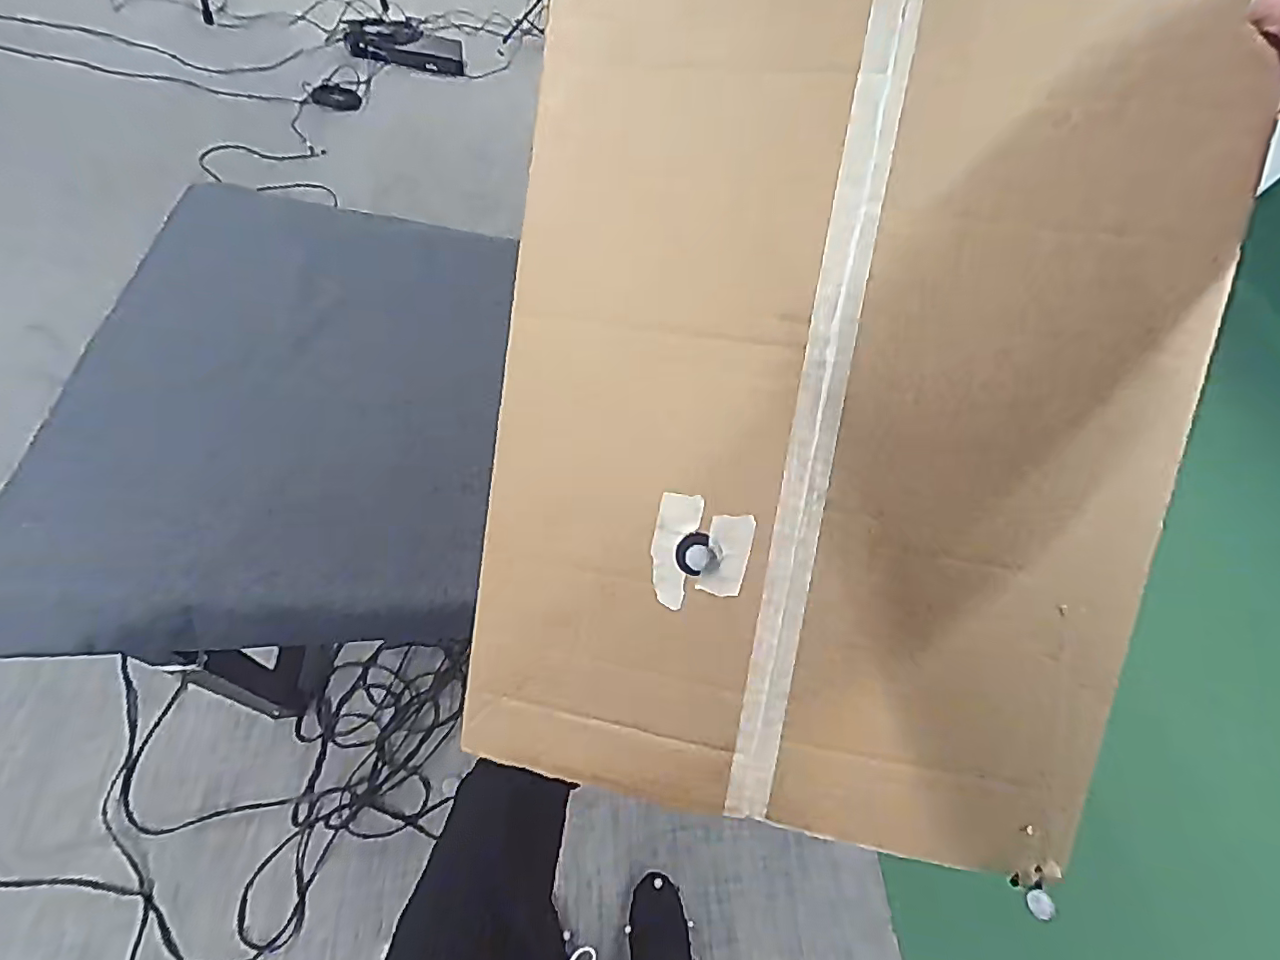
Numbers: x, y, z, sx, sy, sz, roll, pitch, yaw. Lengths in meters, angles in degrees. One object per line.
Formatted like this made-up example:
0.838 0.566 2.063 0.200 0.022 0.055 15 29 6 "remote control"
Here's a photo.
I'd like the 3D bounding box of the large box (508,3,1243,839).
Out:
0.110 -0.040 0.424 0.320 0.320 0.408 9 98 7 "large box"
